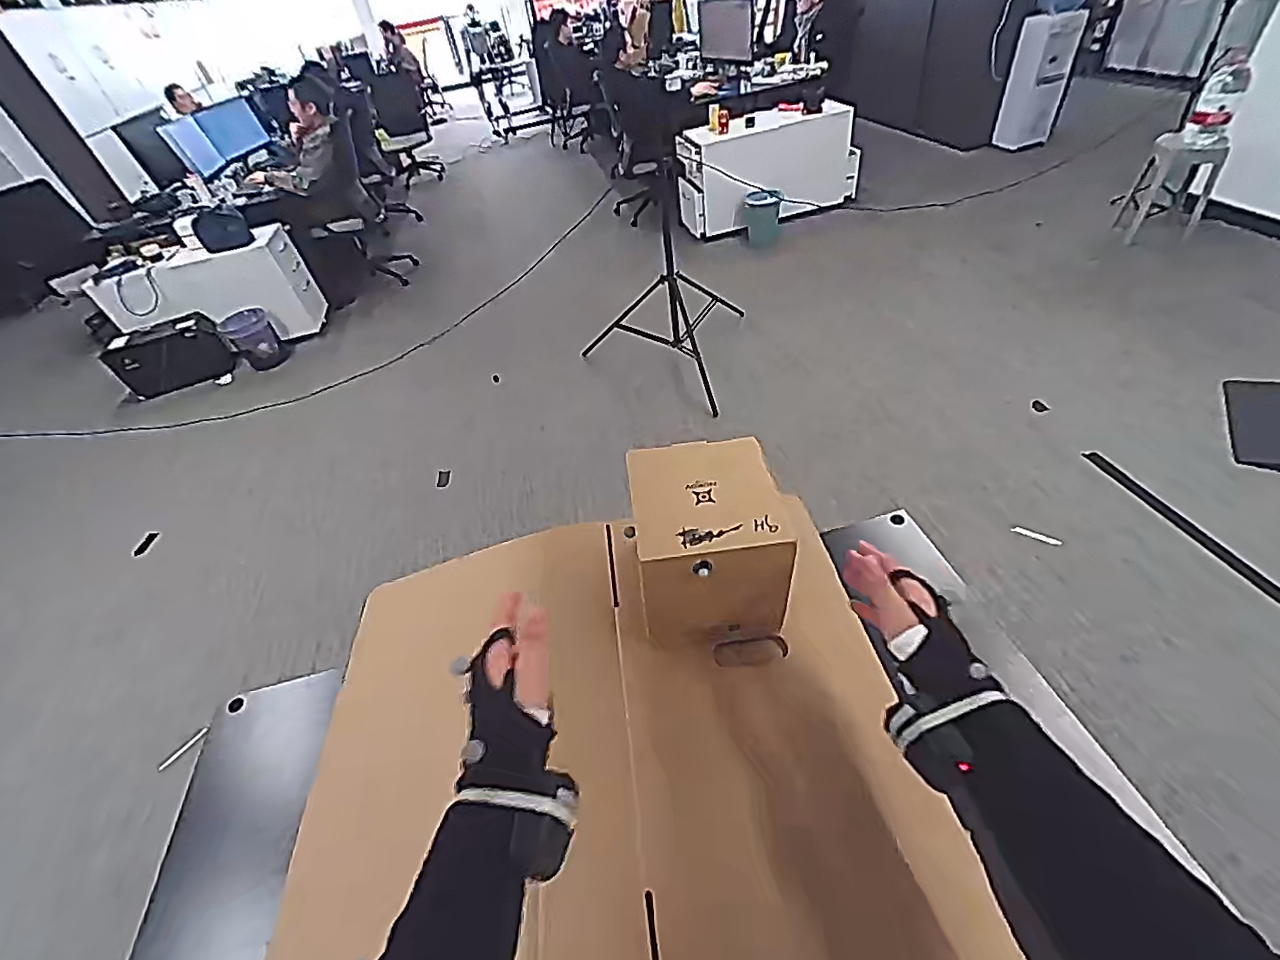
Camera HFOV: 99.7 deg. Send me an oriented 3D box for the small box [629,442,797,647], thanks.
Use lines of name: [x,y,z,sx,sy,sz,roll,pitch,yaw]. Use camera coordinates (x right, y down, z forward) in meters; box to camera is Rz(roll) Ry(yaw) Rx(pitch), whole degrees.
small box: [0.079,0.078,0.663,0.168,0.176,0.179,-8,42,-1]
